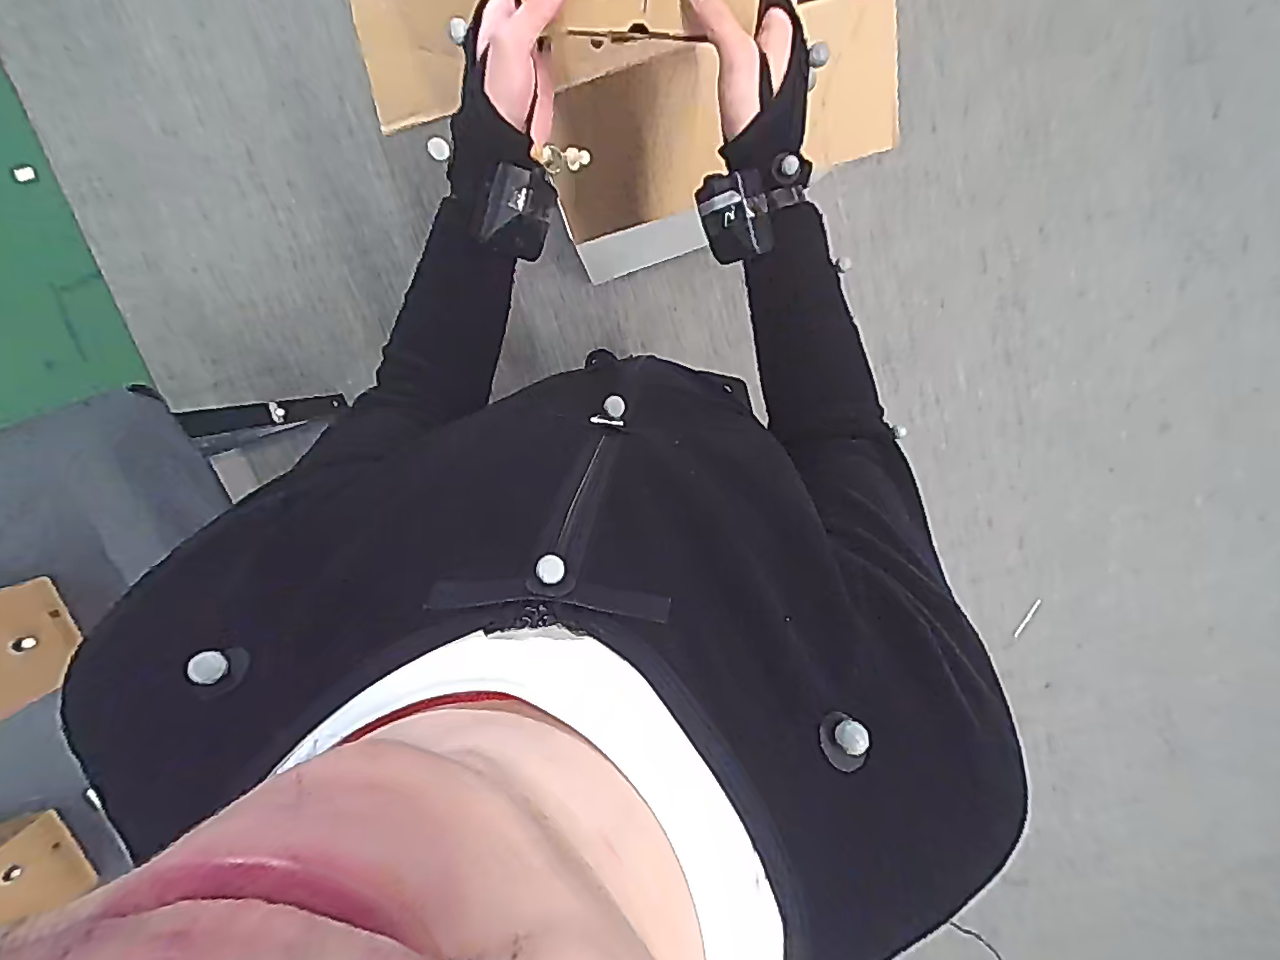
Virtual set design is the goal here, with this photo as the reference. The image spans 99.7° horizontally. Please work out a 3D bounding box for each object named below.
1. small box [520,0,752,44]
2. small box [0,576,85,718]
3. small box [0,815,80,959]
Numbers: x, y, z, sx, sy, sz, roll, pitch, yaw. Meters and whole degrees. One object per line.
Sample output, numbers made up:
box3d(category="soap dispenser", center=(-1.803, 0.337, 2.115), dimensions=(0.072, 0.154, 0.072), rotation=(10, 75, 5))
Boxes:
box3d(category="small box", center=(0.006, -0.433, 0.387), dimensions=(0.168, 0.176, 0.179), rotation=(4, 131, 2))
box3d(category="small box", center=(-0.983, 0.260, 0.787), dimensions=(0.179, 0.176, 0.168), rotation=(-17, 102, 1))
box3d(category="small box", center=(-1.068, 0.677, 0.862), dimensions=(0.179, 0.176, 0.168), rotation=(-18, 101, 3))
